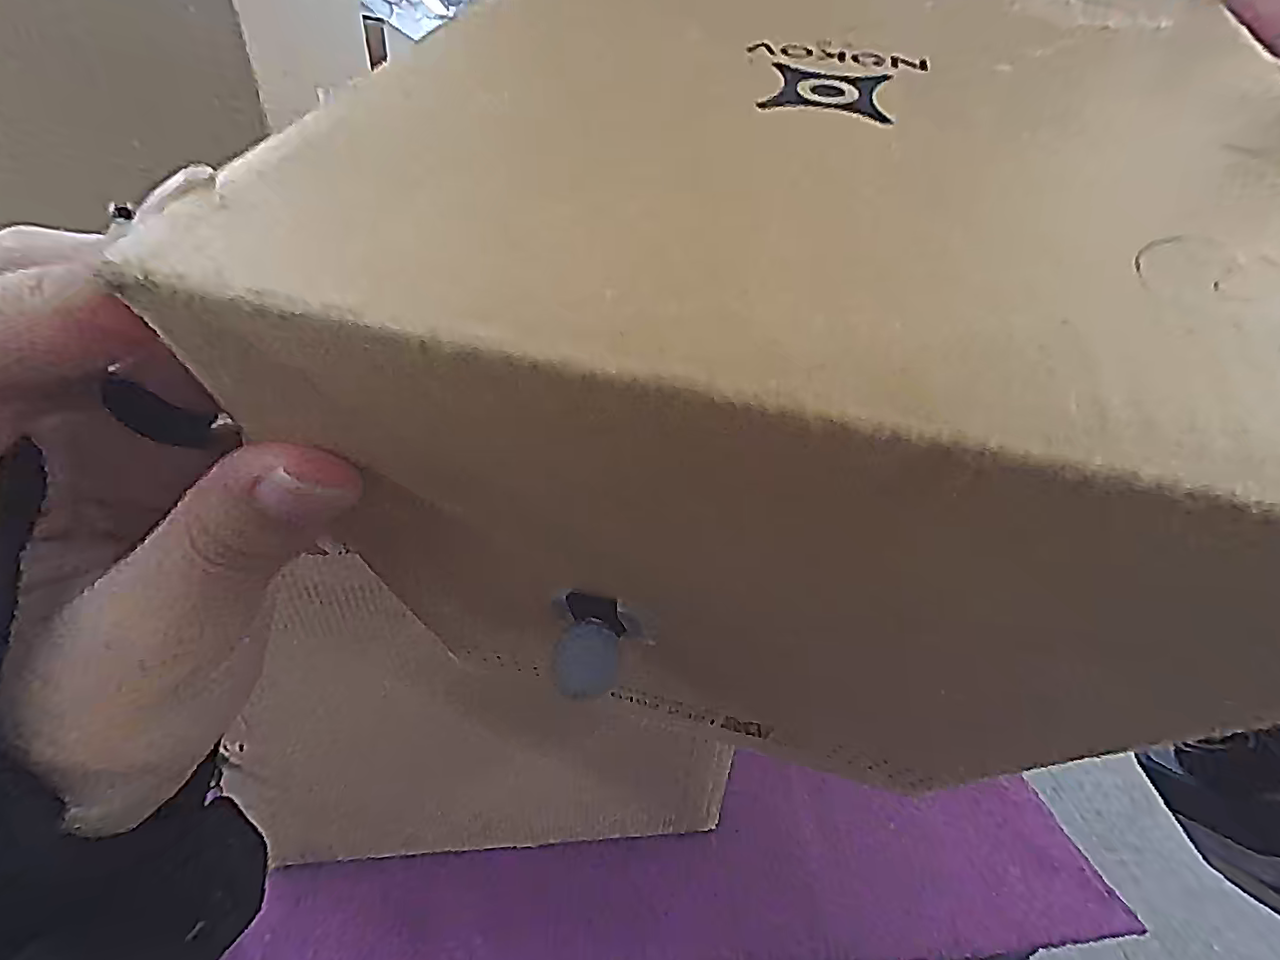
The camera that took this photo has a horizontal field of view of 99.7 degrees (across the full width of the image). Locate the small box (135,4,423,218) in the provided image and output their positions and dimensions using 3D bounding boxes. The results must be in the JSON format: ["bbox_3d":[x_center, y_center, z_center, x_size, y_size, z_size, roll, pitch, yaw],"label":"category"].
[{"bbox_3d":[-0.287,-0.307,0.502,0.179,0.176,0.168,0,31,-7],"label":"small box"}]
